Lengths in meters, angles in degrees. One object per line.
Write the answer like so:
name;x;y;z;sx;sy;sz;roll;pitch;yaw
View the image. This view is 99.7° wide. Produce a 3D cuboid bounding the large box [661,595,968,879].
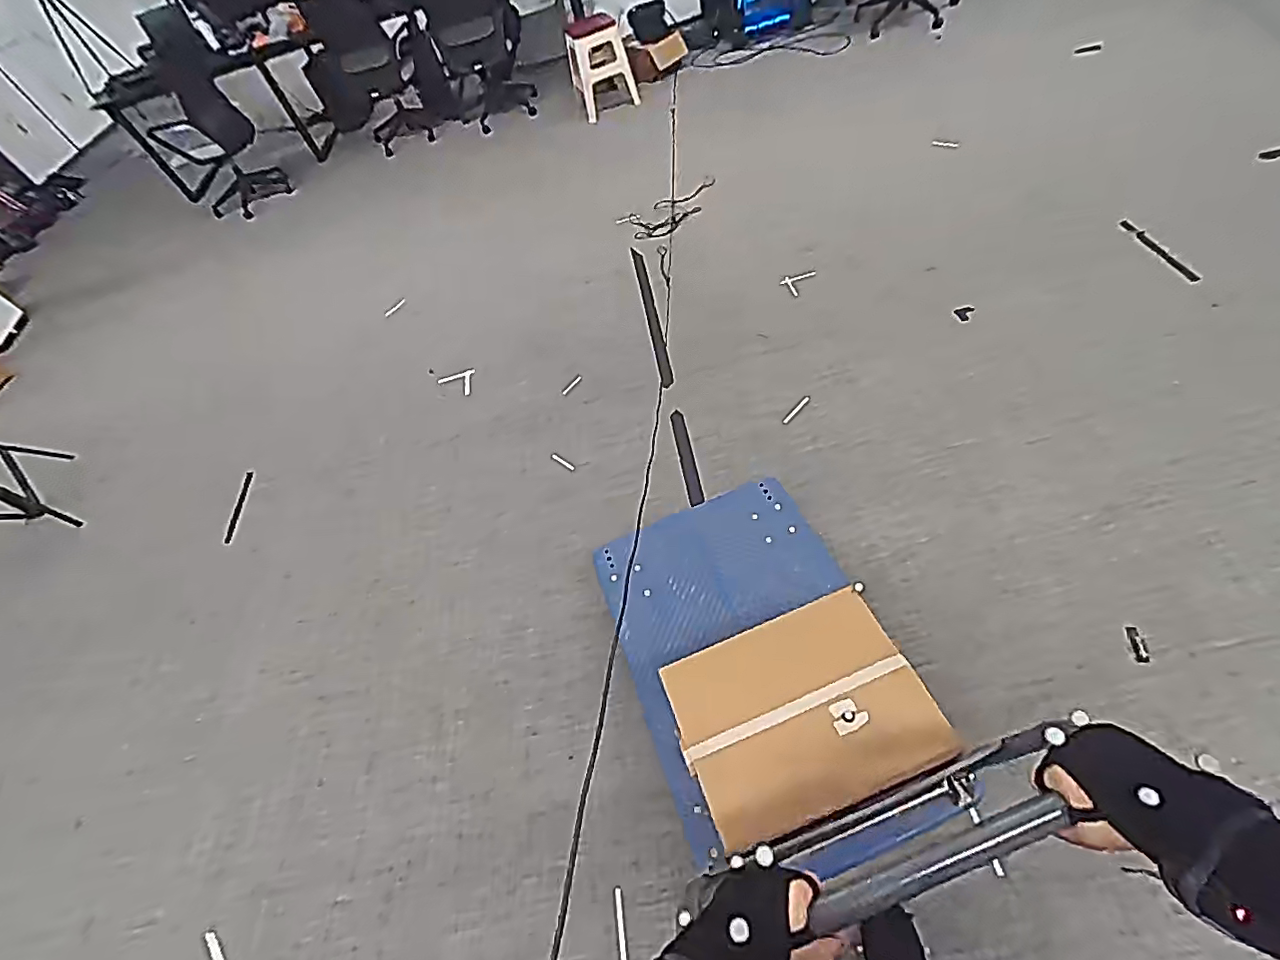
large box;0.297;0.486;1.013;0.408;0.320;0.320;-22;52;-3
